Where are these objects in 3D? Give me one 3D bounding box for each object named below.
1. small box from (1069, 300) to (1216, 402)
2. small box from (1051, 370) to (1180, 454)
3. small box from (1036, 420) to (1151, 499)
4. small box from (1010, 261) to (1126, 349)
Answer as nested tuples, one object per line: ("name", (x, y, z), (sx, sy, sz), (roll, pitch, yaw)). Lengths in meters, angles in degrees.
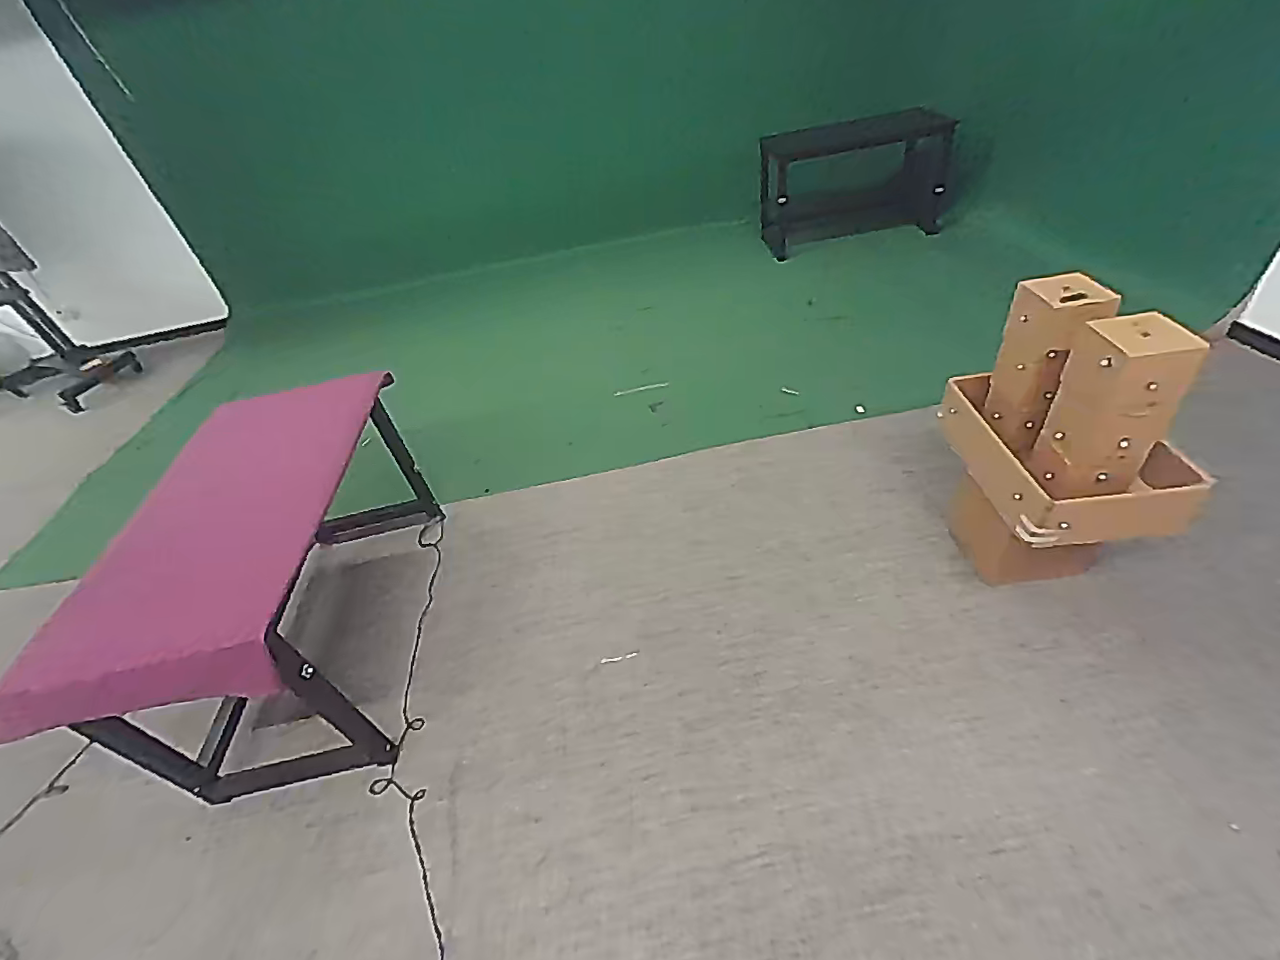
("small box", (1.177, -0.299, 1.286), (0.168, 0.176, 0.179), (-7, 42, 7))
("small box", (1.213, -0.181, 1.396), (0.168, 0.176, 0.179), (-5, 44, 9))
("small box", (1.242, -0.062, 1.503), (0.179, 0.176, 0.168), (-5, 43, 10))
("small box", (1.159, -0.472, 1.481), (0.168, 0.176, 0.179), (-8, 42, 6))
